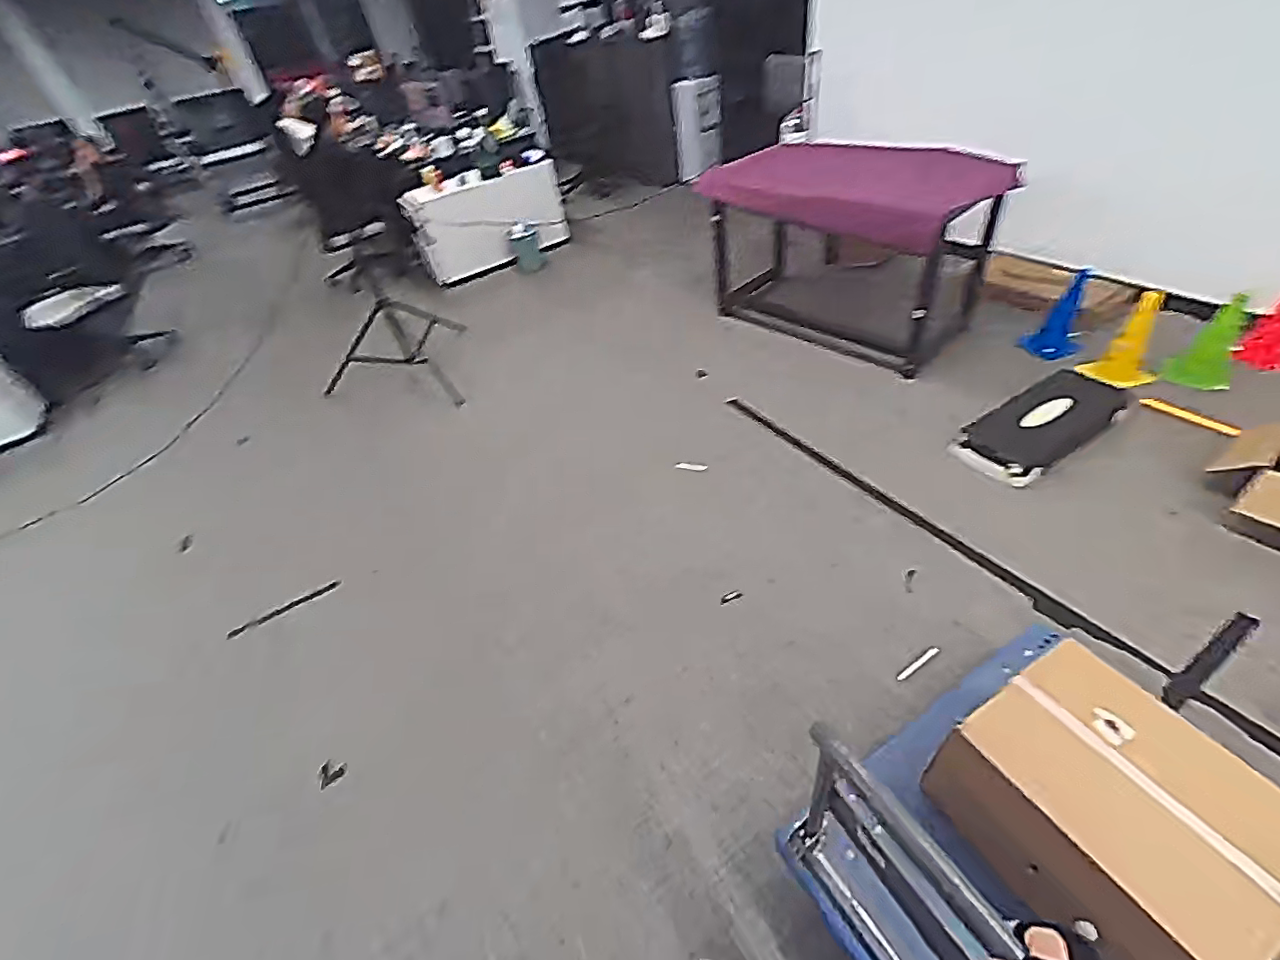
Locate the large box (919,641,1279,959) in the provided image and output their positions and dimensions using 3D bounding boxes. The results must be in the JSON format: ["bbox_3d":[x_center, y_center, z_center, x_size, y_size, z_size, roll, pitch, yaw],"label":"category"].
[{"bbox_3d":[0.797,0.586,0.966,0.320,0.320,0.408,-26,44,-17],"label":"large box"}]
